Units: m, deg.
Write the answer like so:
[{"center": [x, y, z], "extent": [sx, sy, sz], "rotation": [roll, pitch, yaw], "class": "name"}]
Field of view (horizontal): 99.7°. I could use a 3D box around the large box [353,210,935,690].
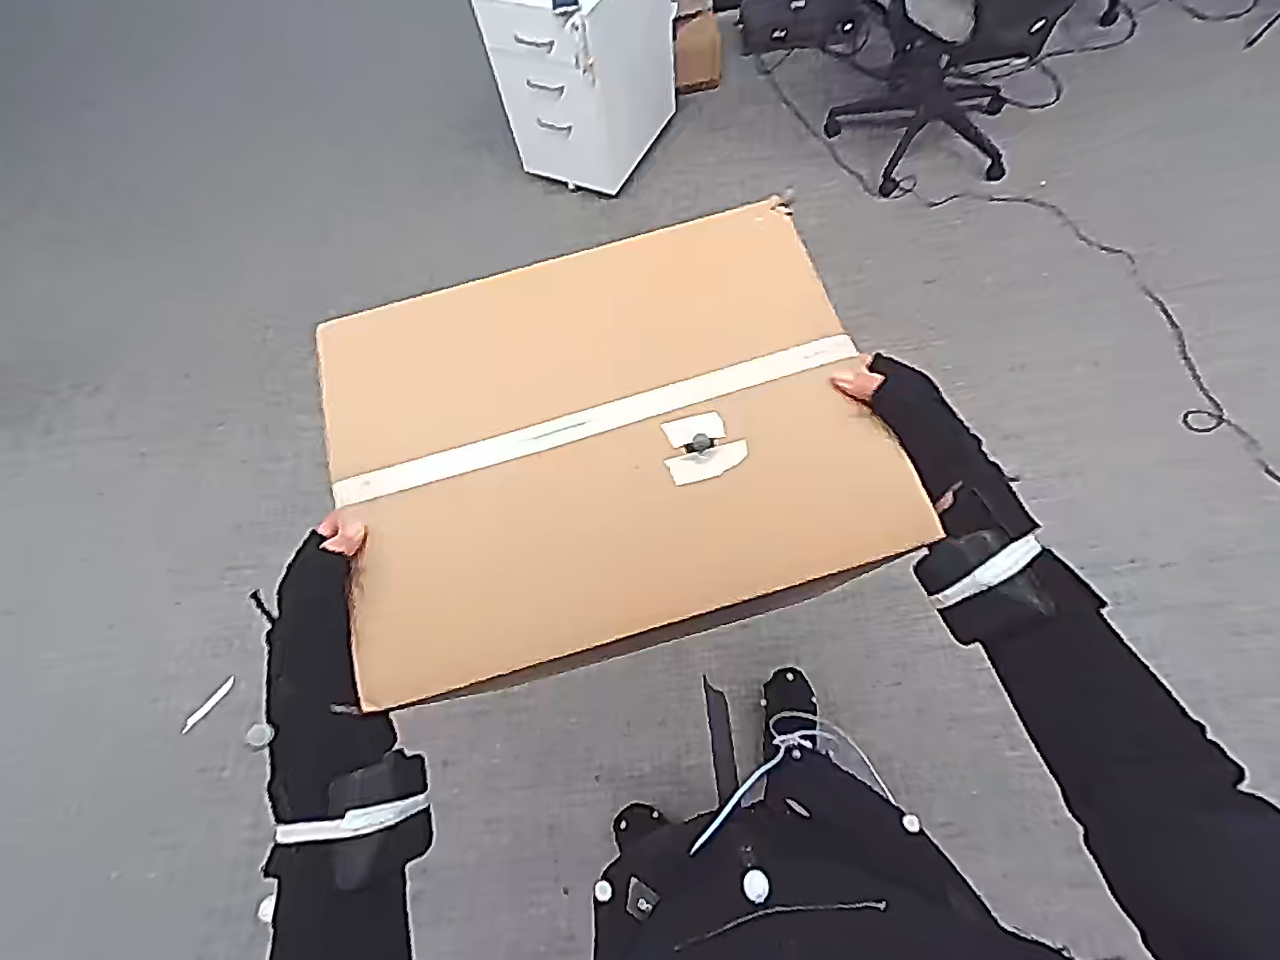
[{"center": [-0.010, -0.001, 0.565], "extent": [0.408, 0.320, 0.320], "rotation": [-16, 72, -2], "class": "large box"}]
